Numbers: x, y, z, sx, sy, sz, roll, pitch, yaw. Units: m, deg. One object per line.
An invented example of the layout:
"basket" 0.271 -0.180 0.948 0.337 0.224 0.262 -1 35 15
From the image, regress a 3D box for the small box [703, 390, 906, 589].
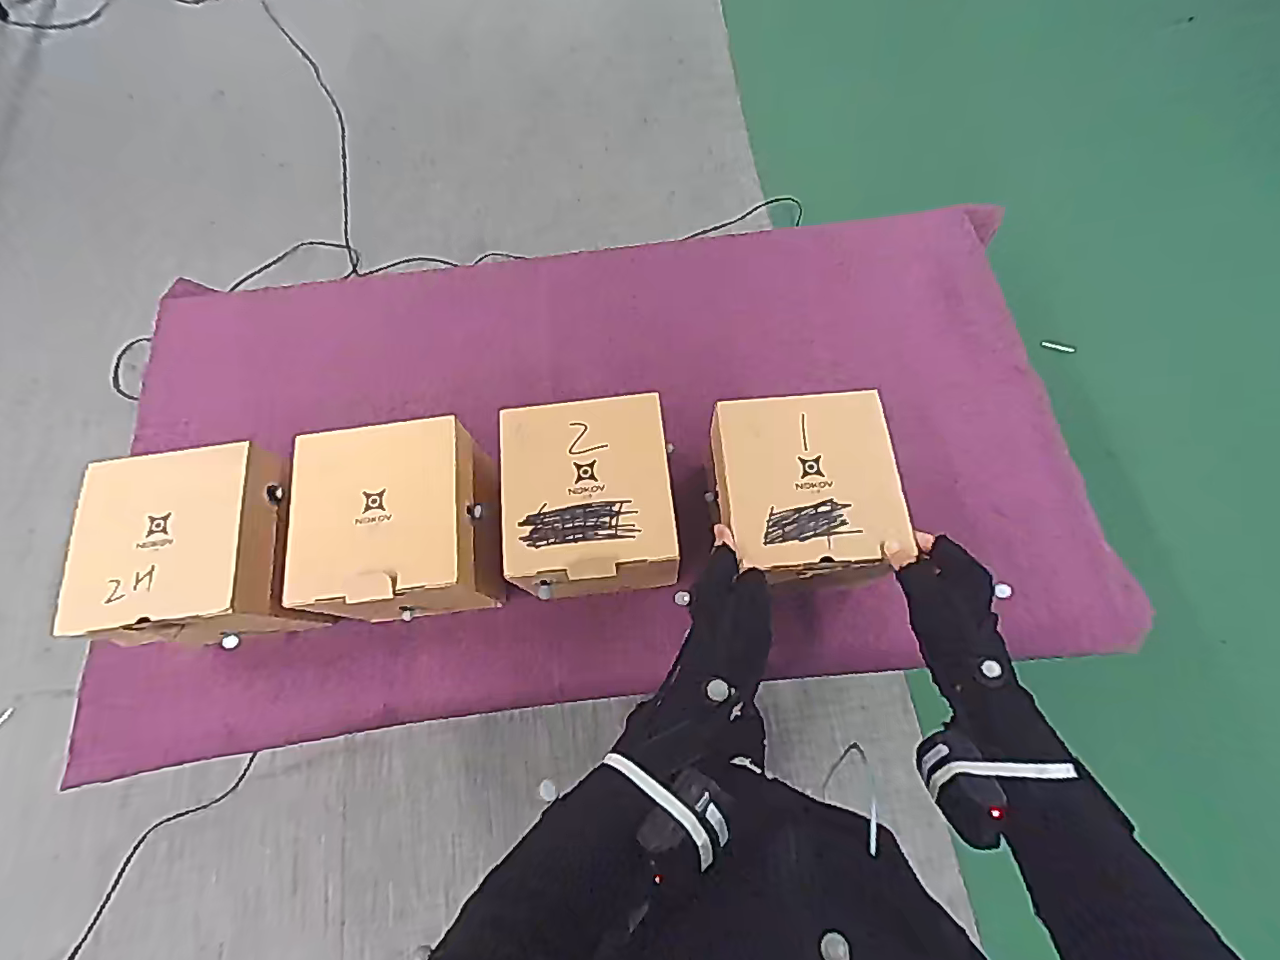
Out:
"small box" 0.162 0.022 0.599 0.168 0.176 0.179 -4 69 1
